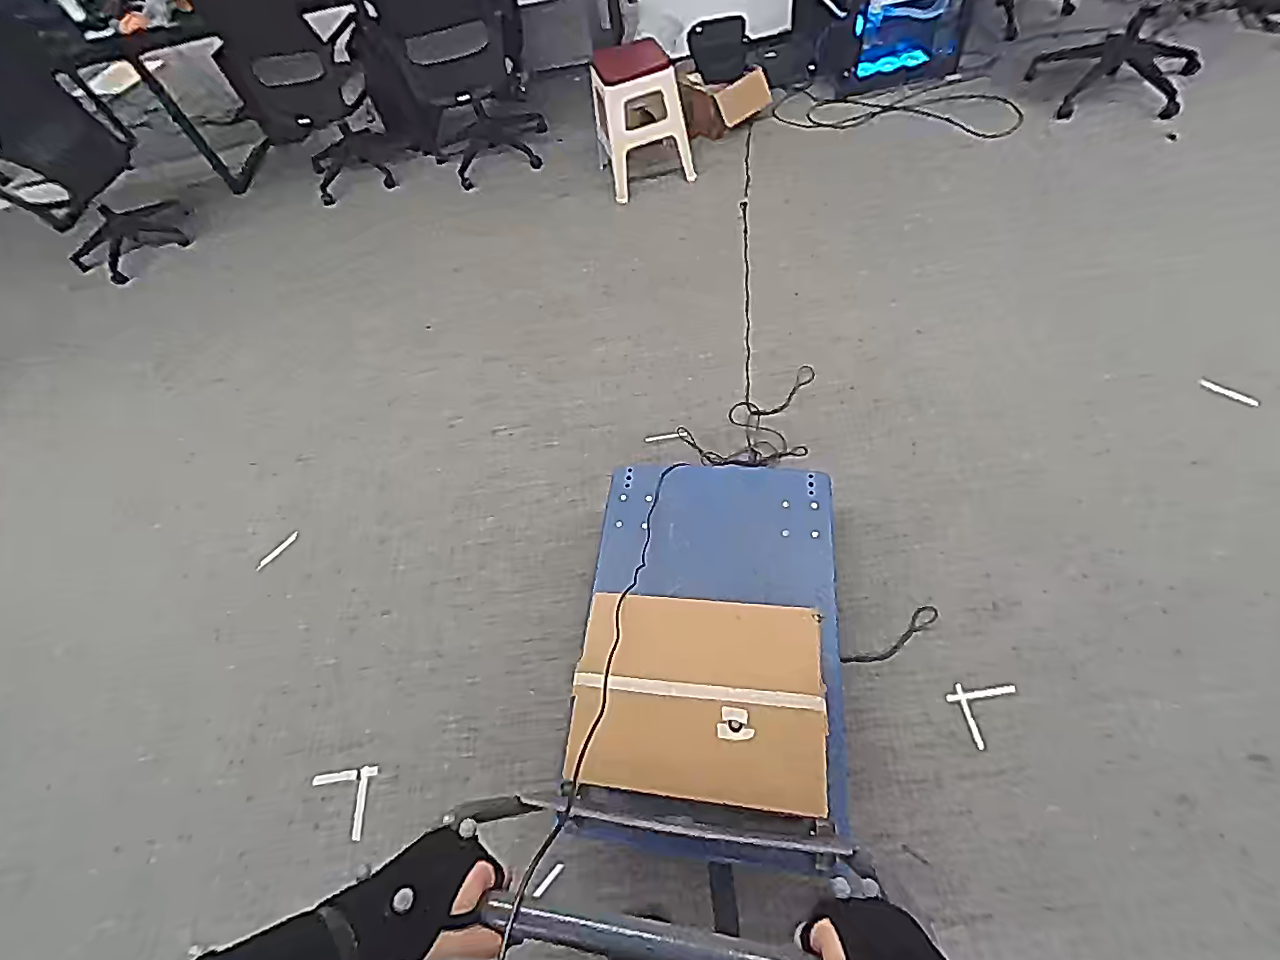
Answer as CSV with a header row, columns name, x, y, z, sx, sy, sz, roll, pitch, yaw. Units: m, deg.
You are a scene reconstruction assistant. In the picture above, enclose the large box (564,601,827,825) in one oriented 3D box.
name,x,y,z,sx,sy,sz,roll,pitch,yaw
large box,0.110,0.437,1.009,0.408,0.320,0.320,2,60,11
